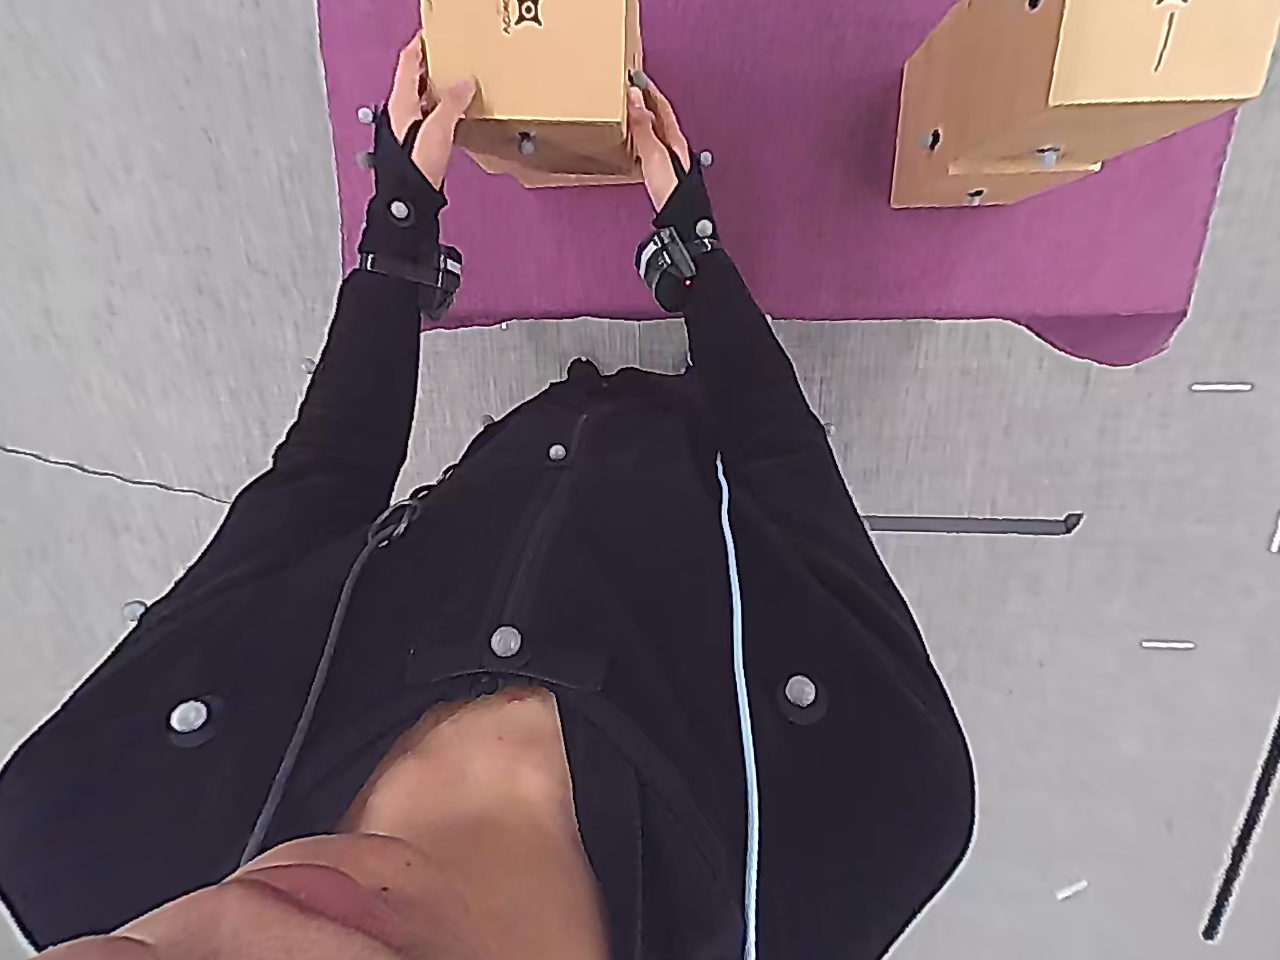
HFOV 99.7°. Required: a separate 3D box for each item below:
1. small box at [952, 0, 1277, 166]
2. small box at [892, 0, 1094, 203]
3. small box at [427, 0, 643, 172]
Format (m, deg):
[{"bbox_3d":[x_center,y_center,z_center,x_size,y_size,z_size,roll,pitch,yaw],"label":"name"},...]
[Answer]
[{"bbox_3d":[0.420,-0.413,0.500,0.168,0.176,0.179,1,106,3],"label":"small box"},{"bbox_3d":[0.428,-0.448,0.661,0.168,0.176,0.179,1,105,3],"label":"small box"},{"bbox_3d":[-0.089,-0.416,0.529,0.179,0.176,0.168,3,106,3],"label":"small box"}]
